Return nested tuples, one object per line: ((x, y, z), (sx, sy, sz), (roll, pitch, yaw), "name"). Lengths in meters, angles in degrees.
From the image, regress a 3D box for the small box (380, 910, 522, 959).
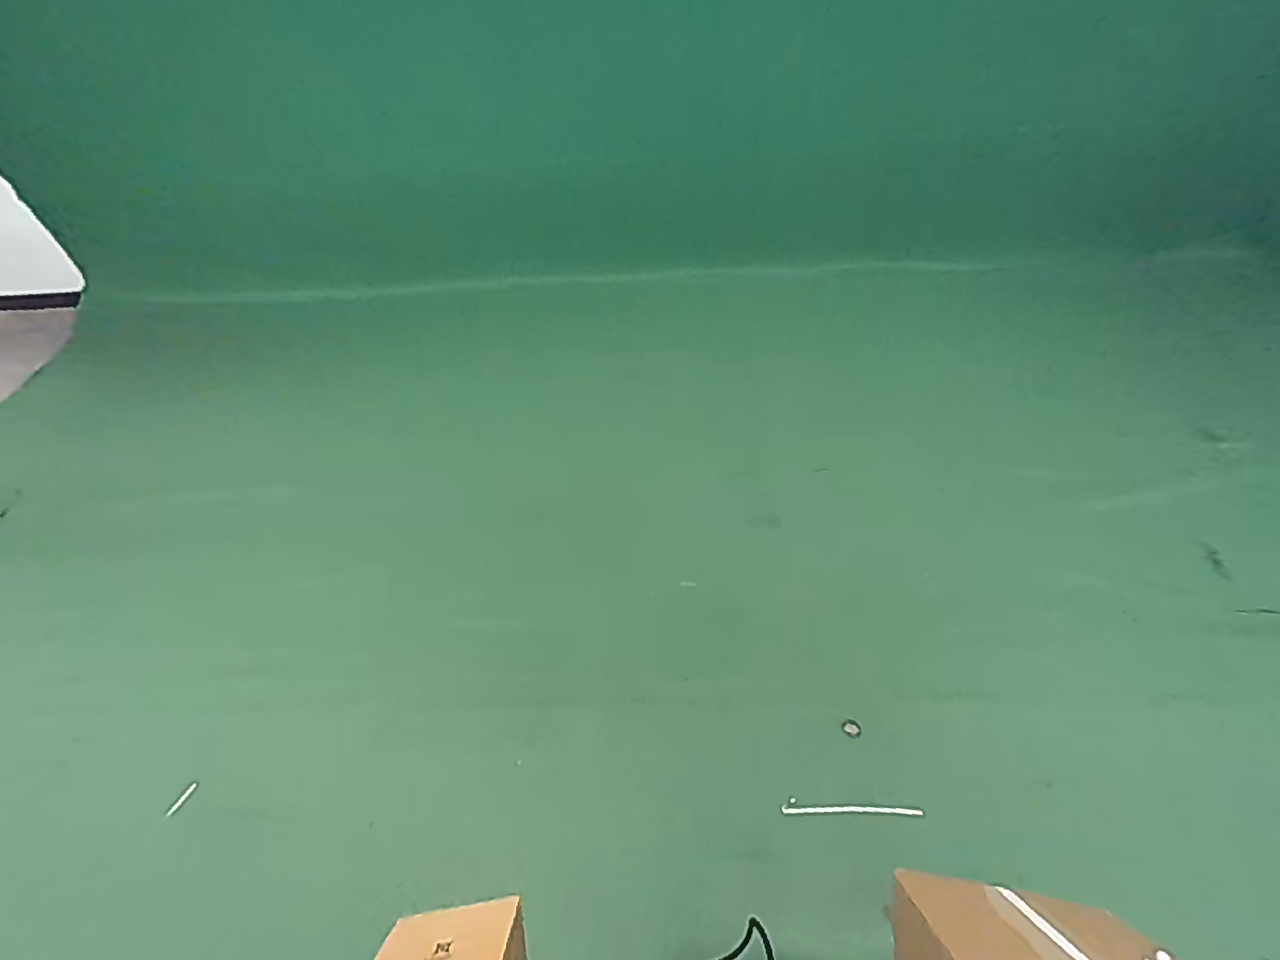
((-0.232, 0.664, 0.637), (0.168, 0.179, 0.176), (-8, 80, -5), "small box")
